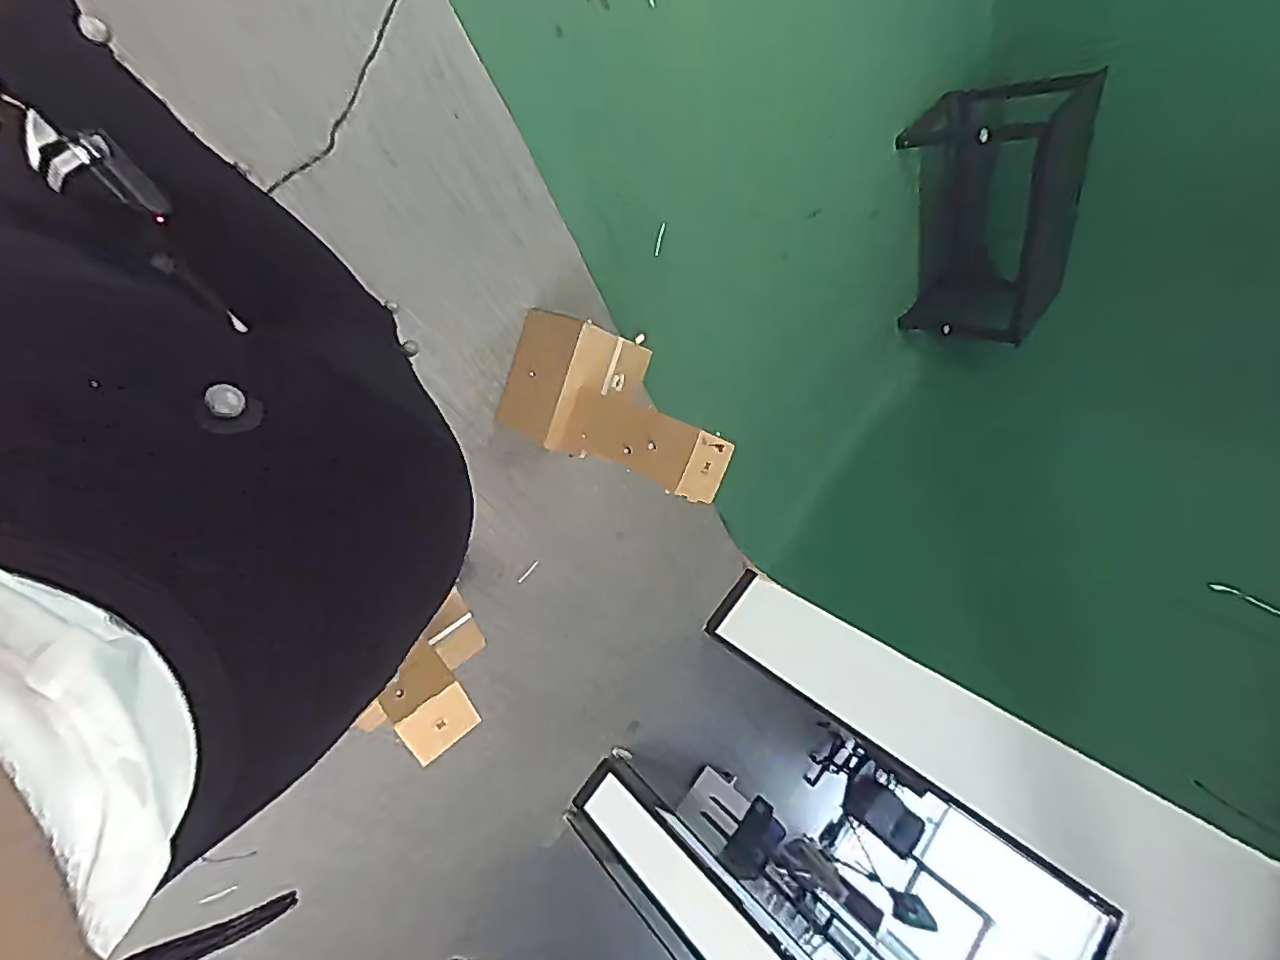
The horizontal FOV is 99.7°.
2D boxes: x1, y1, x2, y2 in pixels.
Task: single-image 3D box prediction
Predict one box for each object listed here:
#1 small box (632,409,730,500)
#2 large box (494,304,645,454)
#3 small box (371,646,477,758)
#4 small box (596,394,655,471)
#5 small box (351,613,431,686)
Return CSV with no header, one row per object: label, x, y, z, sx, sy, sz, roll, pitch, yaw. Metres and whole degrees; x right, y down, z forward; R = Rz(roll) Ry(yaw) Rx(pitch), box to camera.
small box,0.105,-0.069,1.448,0.168,0.176,0.179,16,99,-49
large box,-0.245,-0.333,1.828,0.320,0.320,0.408,9,103,-49
small box,-0.547,0.550,1.368,0.168,0.176,0.179,-34,131,-28
small box,-0.002,-0.126,1.559,0.168,0.176,0.179,16,98,-49
small box,-0.656,0.501,1.479,0.168,0.176,0.179,-32,129,-30
